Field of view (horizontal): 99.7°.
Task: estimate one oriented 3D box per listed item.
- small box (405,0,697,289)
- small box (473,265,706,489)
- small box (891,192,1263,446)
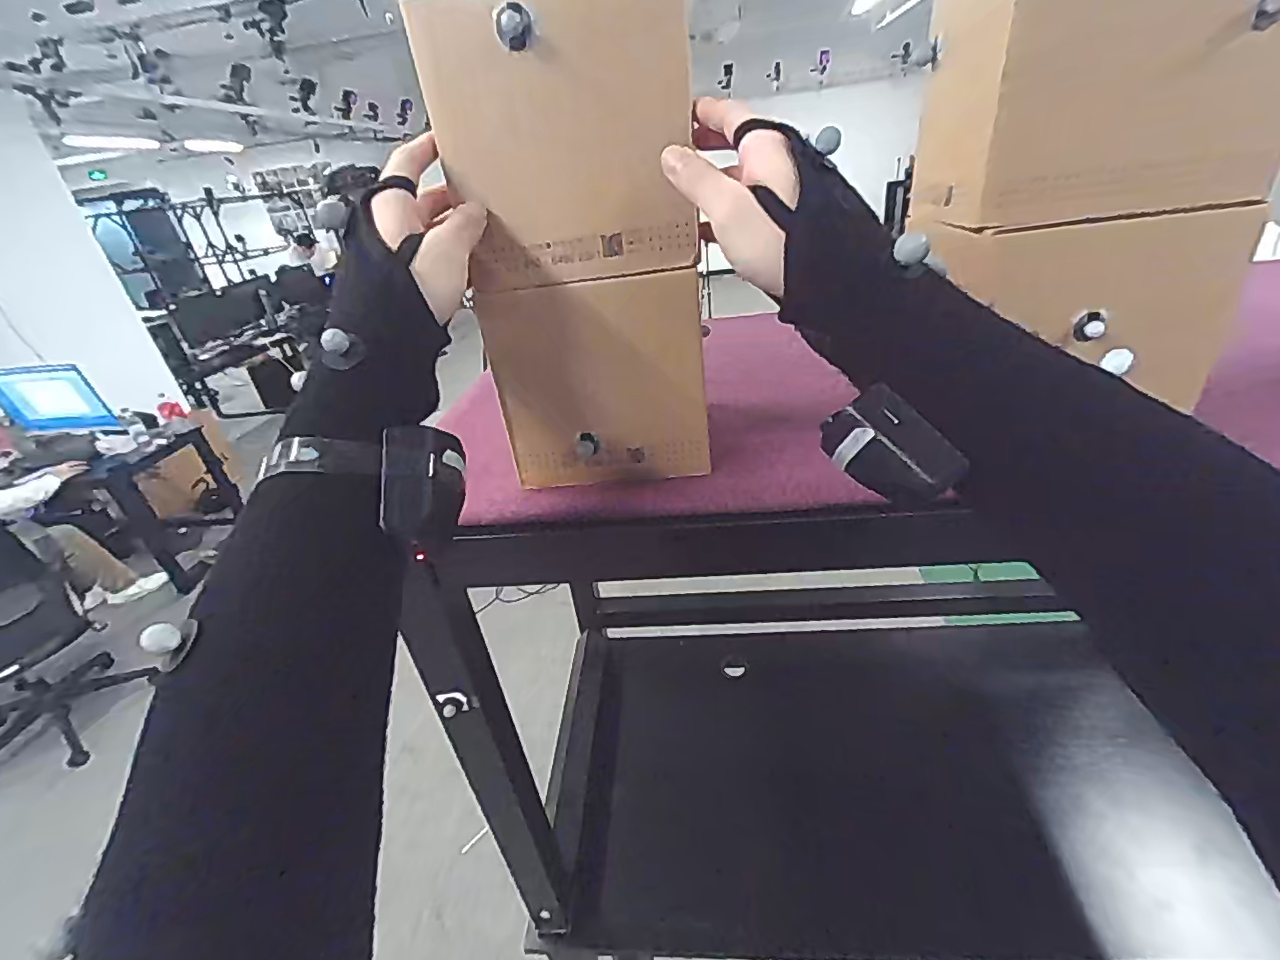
[{"bbox_3d":[-0.047,-0.251,0.420,0.168,0.176,0.179,-6,28,5],"label":"small box"},{"bbox_3d":[-0.030,-0.107,0.497,0.168,0.176,0.179,-5,29,5],"label":"small box"},{"bbox_3d":[0.337,-0.141,0.467,0.179,0.176,0.168,-5,28,8],"label":"small box"}]
